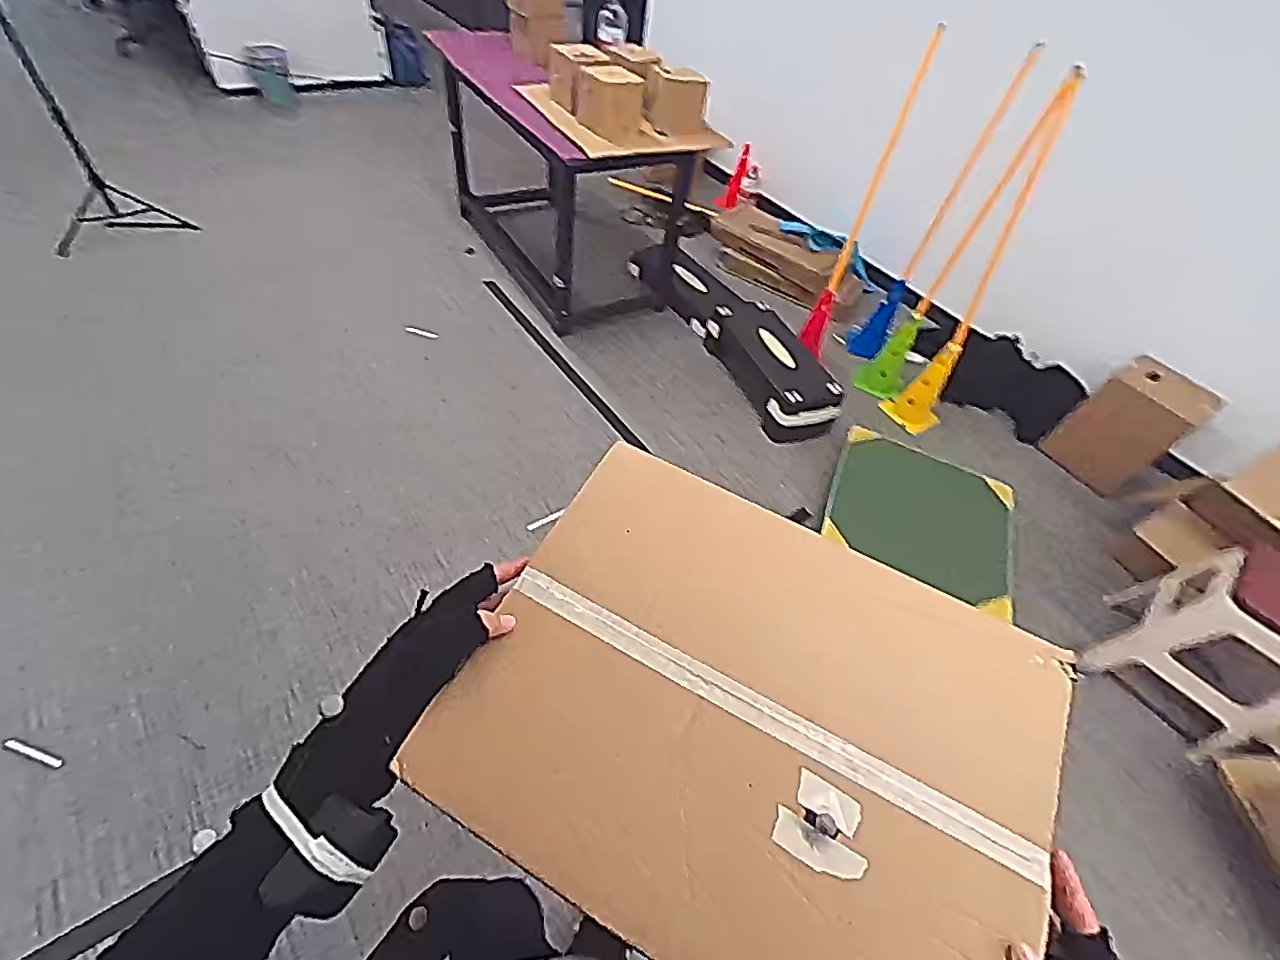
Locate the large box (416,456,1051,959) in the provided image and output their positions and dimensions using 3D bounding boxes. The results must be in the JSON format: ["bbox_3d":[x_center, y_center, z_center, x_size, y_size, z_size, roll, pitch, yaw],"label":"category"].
[{"bbox_3d":[0.079,0.245,0.532,0.408,0.320,0.320,26,62,13],"label":"large box"}]
